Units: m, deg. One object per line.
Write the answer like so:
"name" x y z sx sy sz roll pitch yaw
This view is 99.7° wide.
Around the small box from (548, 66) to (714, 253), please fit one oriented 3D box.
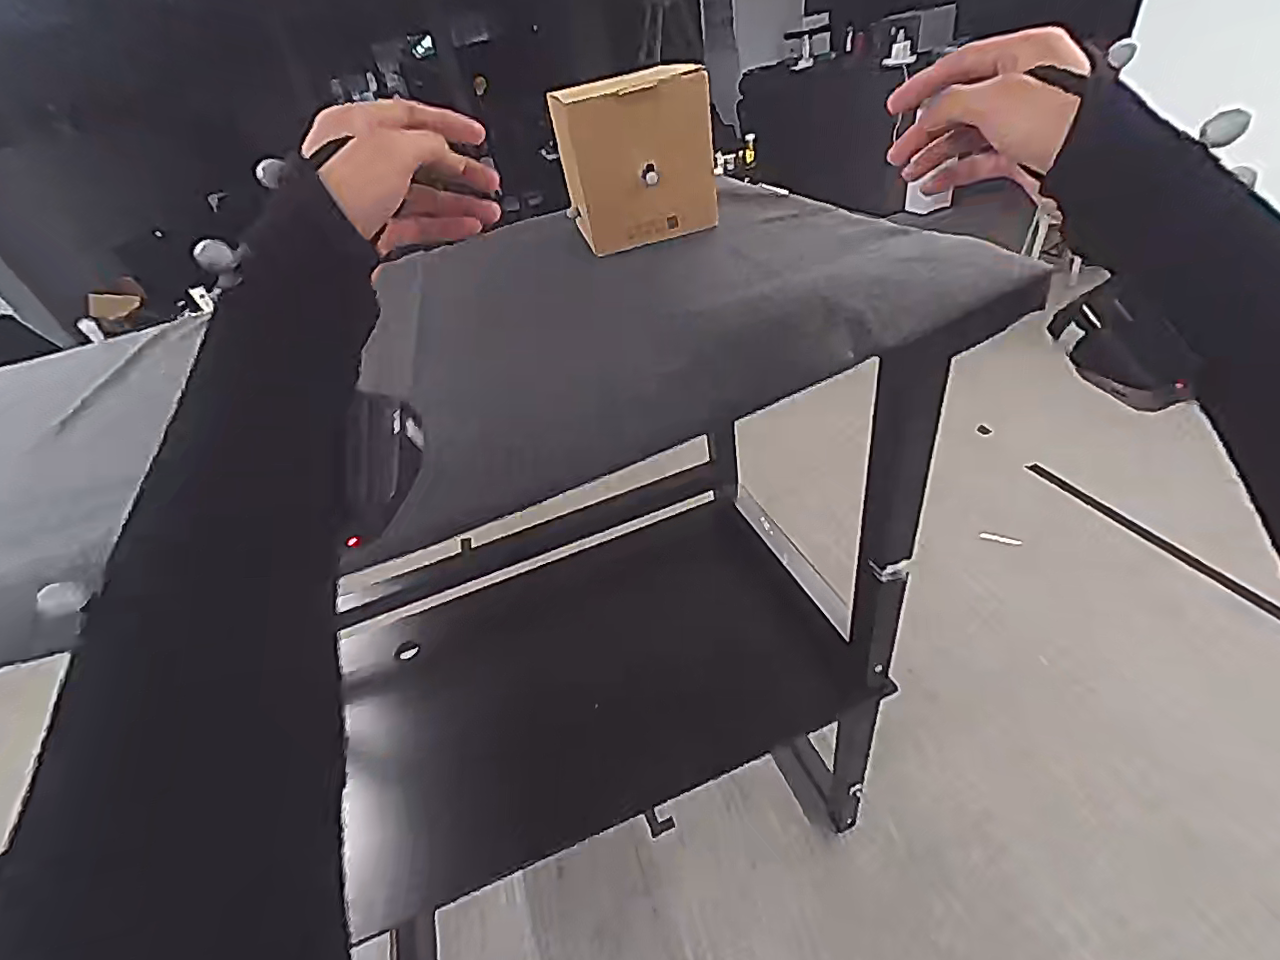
"small box" -0.010 -0.413 0.705 0.168 0.176 0.179 -17 41 -5
